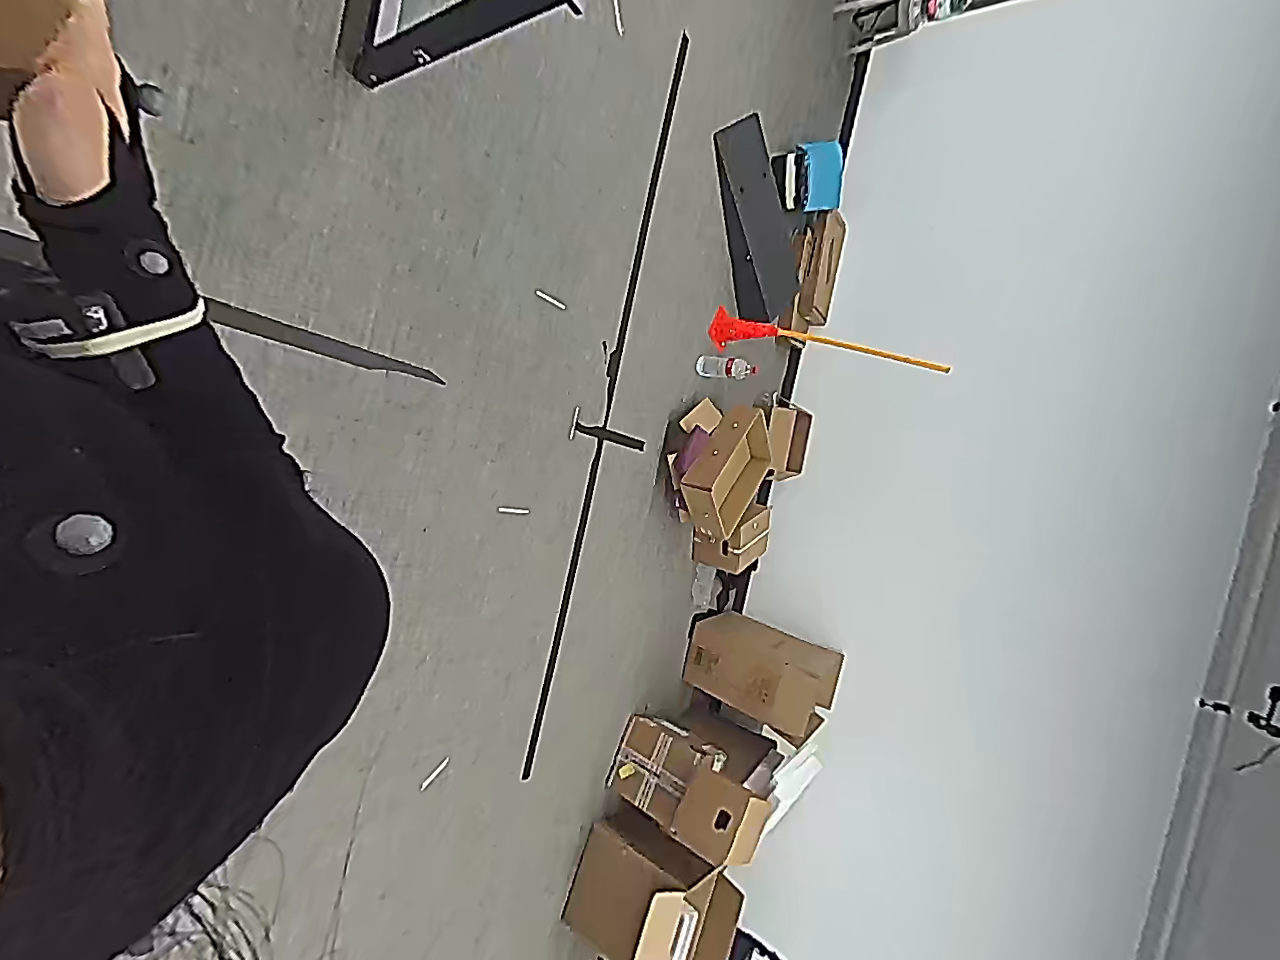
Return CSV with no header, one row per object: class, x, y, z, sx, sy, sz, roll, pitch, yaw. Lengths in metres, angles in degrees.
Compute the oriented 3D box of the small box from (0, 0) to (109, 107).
small box,-0.304,-0.260,0.170,0.168,0.176,0.179,-9,104,-56
